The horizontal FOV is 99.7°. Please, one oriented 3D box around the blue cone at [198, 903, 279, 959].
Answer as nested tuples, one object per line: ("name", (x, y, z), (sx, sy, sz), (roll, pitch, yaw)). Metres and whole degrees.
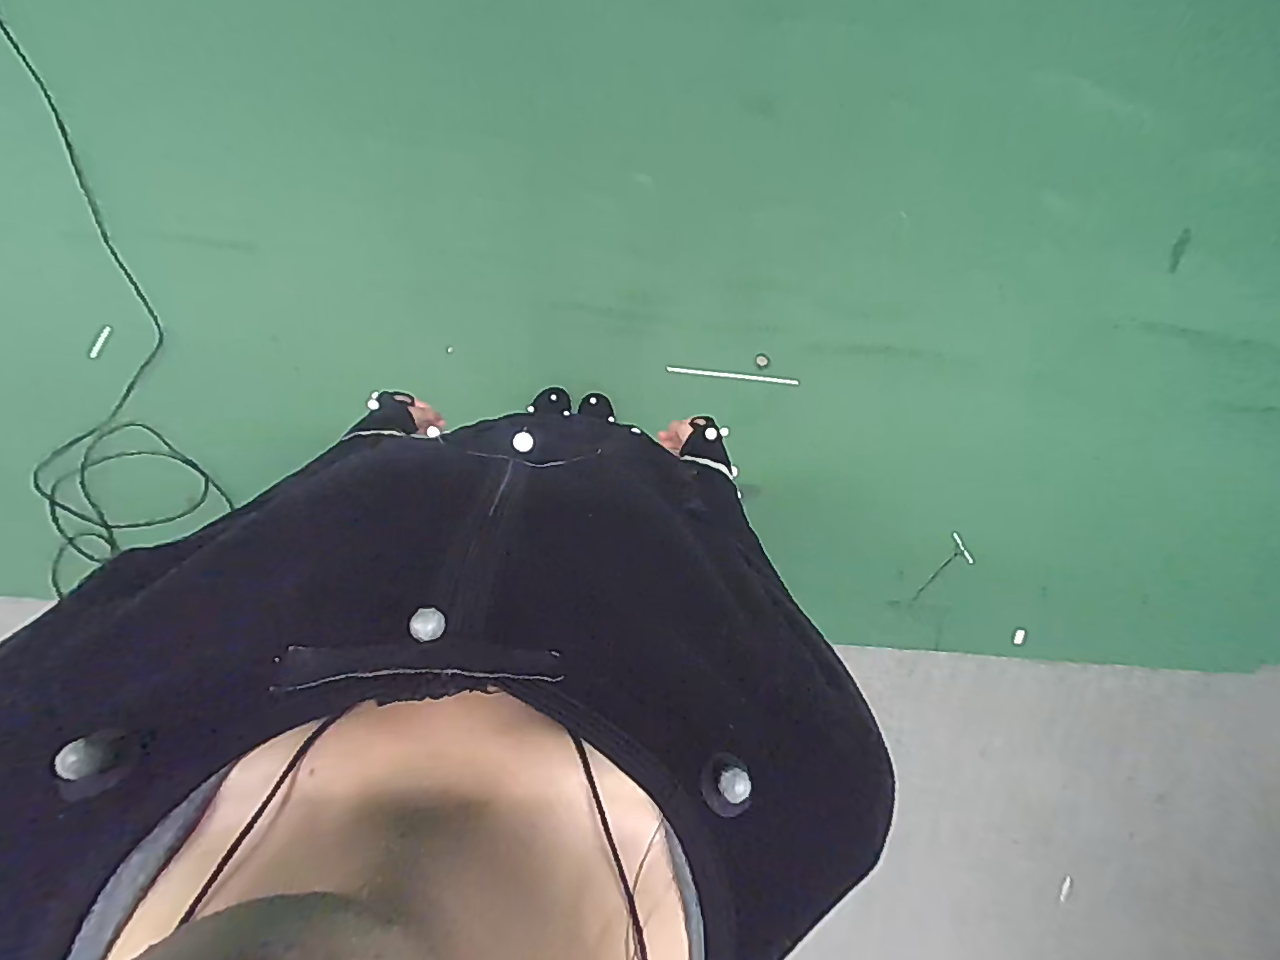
("blue cone", (-1.207, 1.427, 1.487), (0.193, 0.380, 0.192), (-39, 104, 5))
